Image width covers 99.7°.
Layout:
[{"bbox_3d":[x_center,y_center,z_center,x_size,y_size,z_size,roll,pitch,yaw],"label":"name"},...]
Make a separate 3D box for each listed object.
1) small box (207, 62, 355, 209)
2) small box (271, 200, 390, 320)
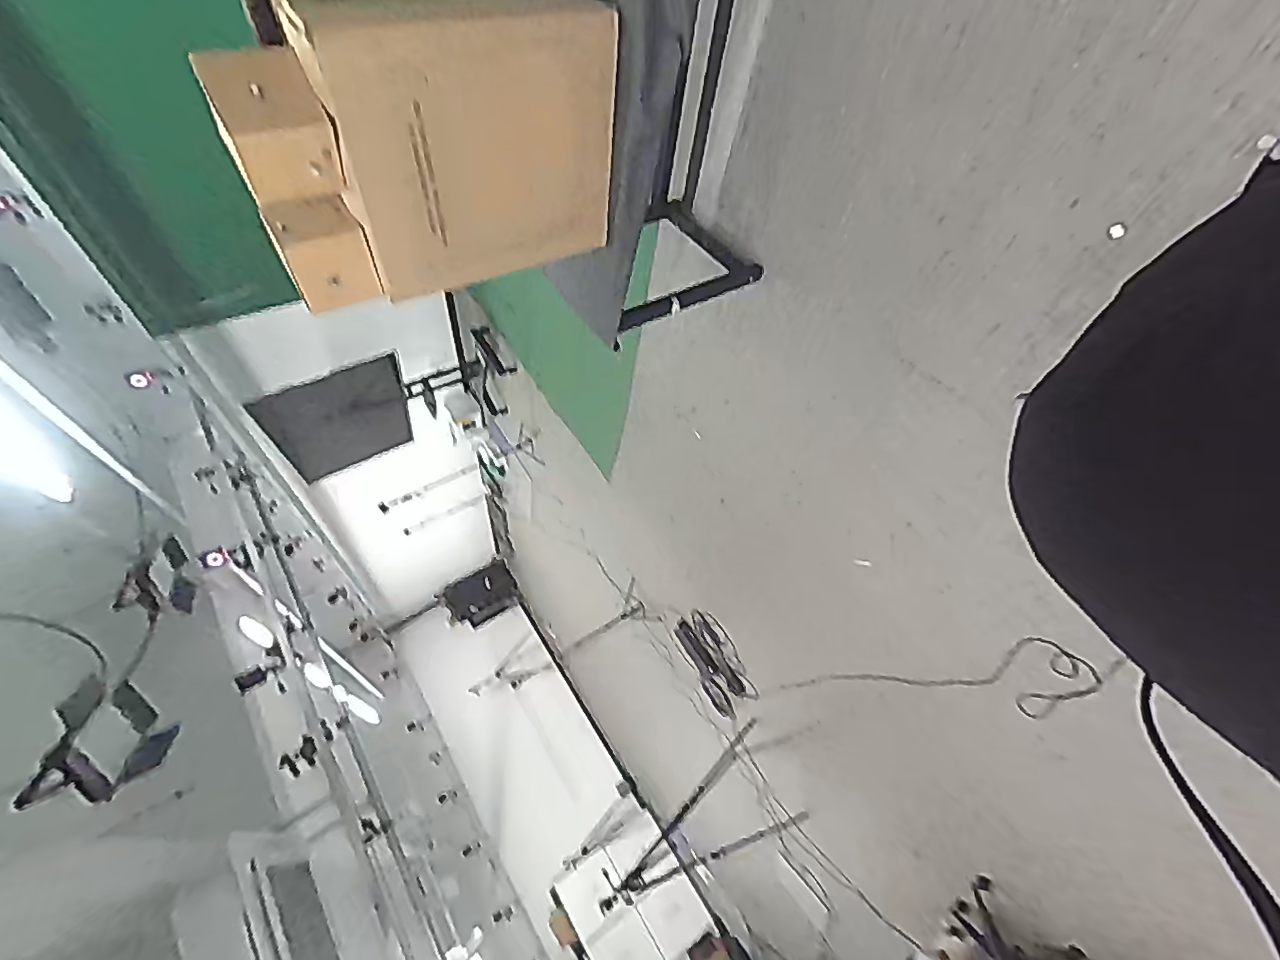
[{"bbox_3d":[-0.677,-0.662,1.040,0.179,0.176,0.168,61,155,4],"label":"small box"},{"bbox_3d":[-0.704,-0.510,1.250,0.168,0.176,0.179,50,155,25],"label":"small box"}]
